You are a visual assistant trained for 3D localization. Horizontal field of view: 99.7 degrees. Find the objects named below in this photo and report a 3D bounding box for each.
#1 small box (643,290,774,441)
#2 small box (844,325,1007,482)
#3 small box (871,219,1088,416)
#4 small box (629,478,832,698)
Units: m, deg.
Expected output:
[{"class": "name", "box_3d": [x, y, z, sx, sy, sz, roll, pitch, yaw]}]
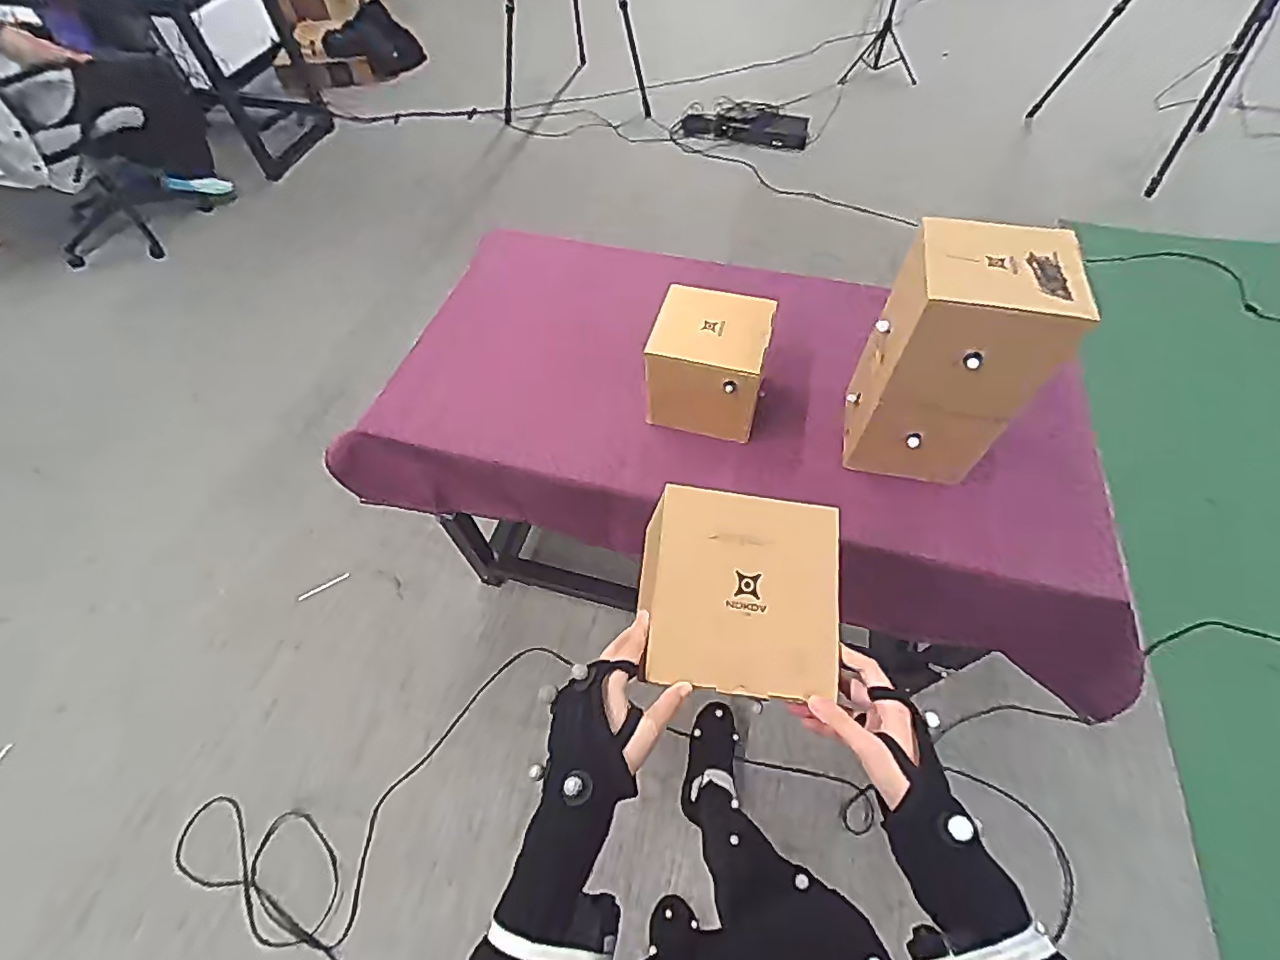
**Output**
[{"class": "small box", "box_3d": [0.111, -0.185, 0.899, 0.179, 0.176, 0.168, 13, 57, 10]}, {"class": "small box", "box_3d": [0.423, -0.114, 0.835, 0.179, 0.176, 0.168, 9, 58, 9]}, {"class": "small box", "box_3d": [0.416, -0.203, 0.696, 0.179, 0.176, 0.168, 11, 57, 10]}, {"class": "small box", "box_3d": [0.083, 0.117, 0.554, 0.168, 0.176, 0.179, 9, 69, -3]}]
